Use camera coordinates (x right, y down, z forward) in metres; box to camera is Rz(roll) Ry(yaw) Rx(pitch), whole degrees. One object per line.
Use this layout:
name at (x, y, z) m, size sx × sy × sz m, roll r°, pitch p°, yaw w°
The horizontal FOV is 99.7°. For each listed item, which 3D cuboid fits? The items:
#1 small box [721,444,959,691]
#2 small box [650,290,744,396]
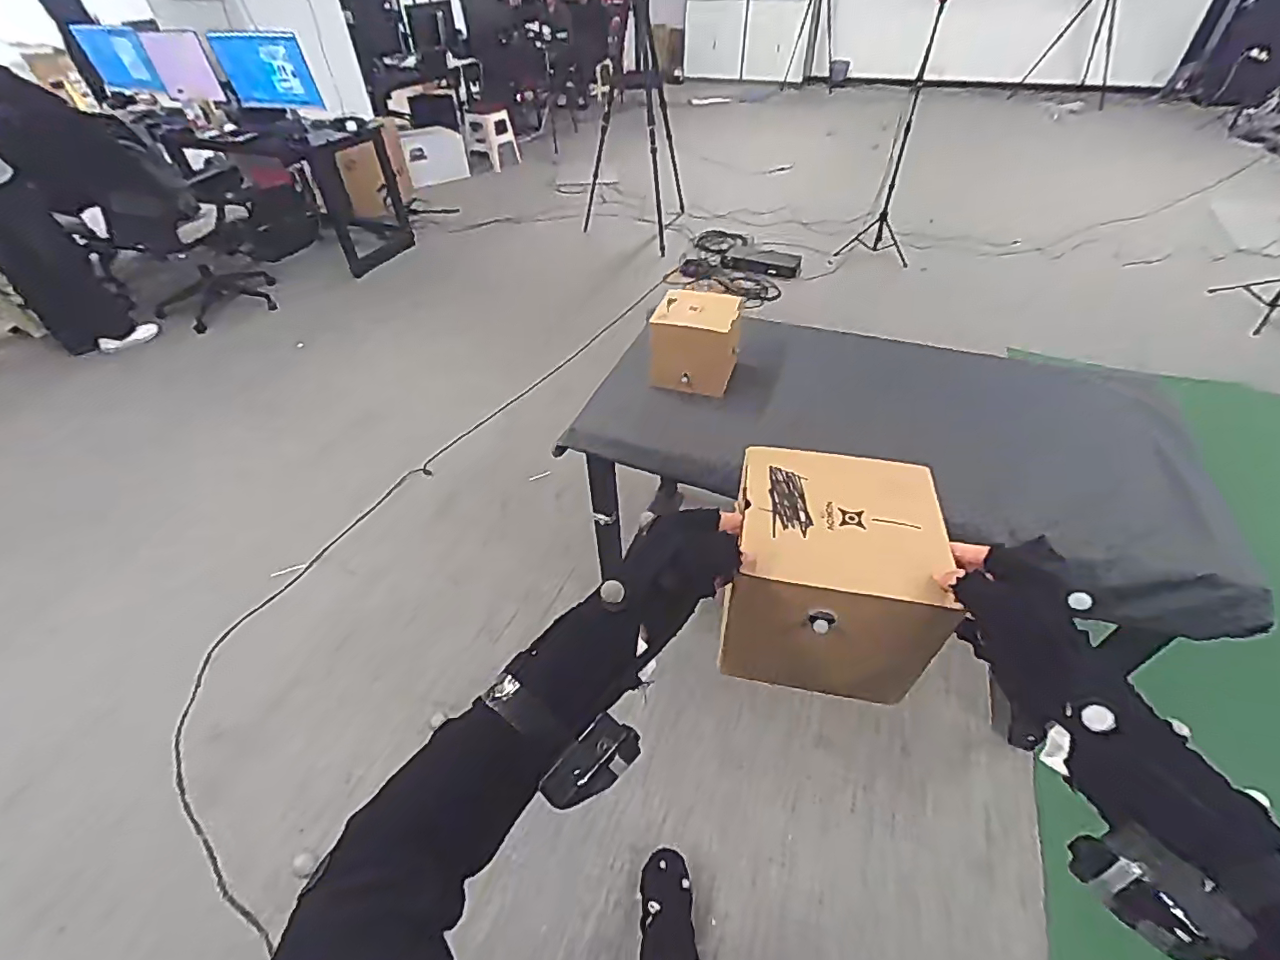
small box at (0.180, 0.088, 0.541) m, size 0.179 × 0.176 × 0.168 m, roll 8°, pitch 44°, yaw 8°
small box at (0.130, -0.314, 1.251) m, size 0.179 × 0.176 × 0.168 m, roll 13°, pitch 46°, yaw 13°
